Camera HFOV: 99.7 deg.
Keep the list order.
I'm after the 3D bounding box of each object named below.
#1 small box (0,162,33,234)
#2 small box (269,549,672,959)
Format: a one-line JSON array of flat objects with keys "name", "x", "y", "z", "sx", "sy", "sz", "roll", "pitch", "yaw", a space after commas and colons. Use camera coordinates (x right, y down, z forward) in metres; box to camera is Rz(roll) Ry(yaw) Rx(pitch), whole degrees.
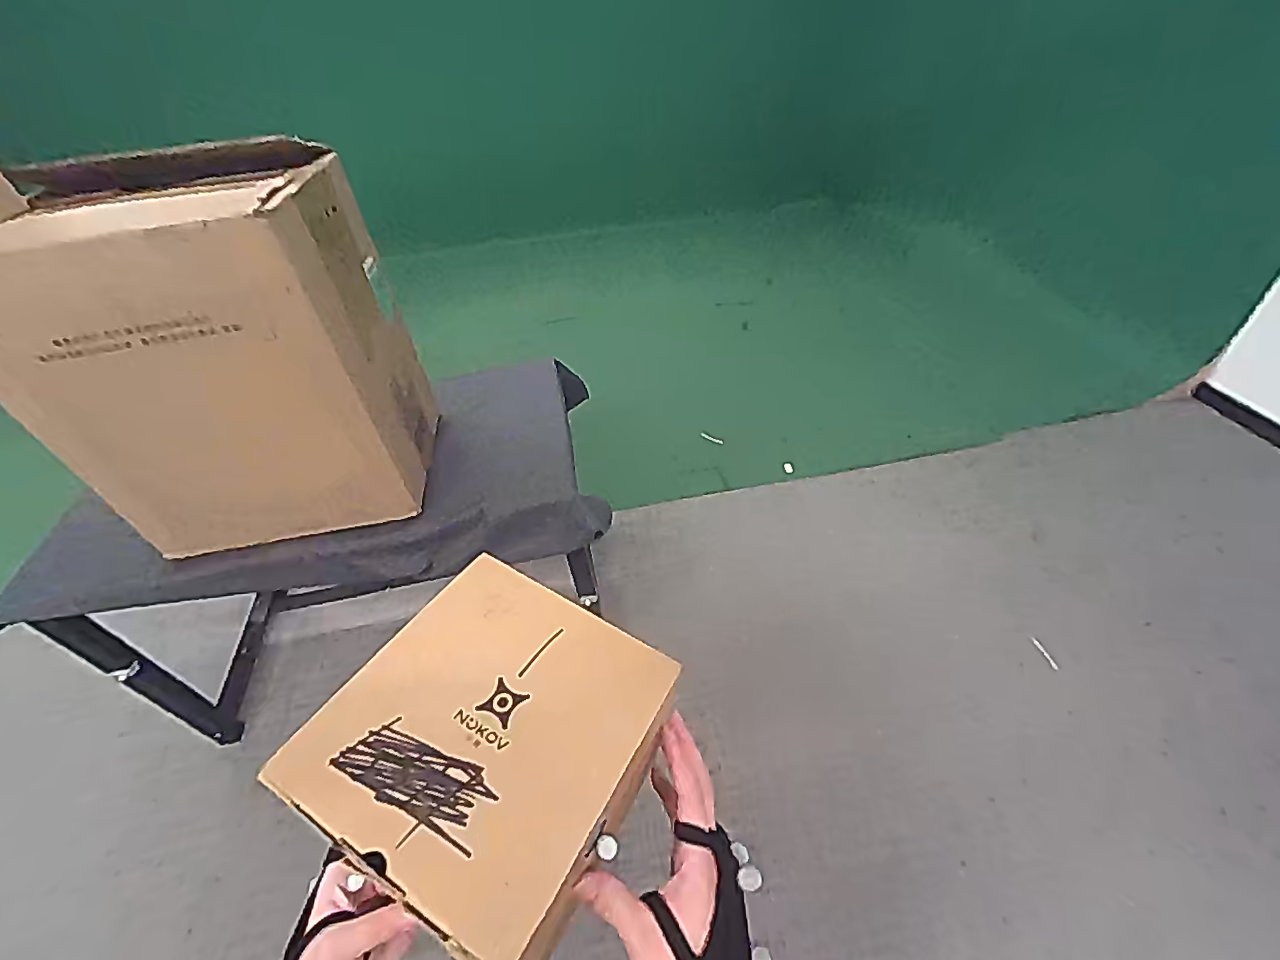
[{"name": "small box", "x": -1.018, "y": -0.408, "z": 0.739, "sx": 0.168, "sy": 0.176, "sz": 0.179, "roll": -11, "pitch": 43, "yaw": -1}, {"name": "small box", "x": -0.095, "y": 0.189, "z": 0.374, "sx": 0.168, "sy": 0.176, "sz": 0.179, "roll": 25, "pitch": 47, "yaw": 18}]
